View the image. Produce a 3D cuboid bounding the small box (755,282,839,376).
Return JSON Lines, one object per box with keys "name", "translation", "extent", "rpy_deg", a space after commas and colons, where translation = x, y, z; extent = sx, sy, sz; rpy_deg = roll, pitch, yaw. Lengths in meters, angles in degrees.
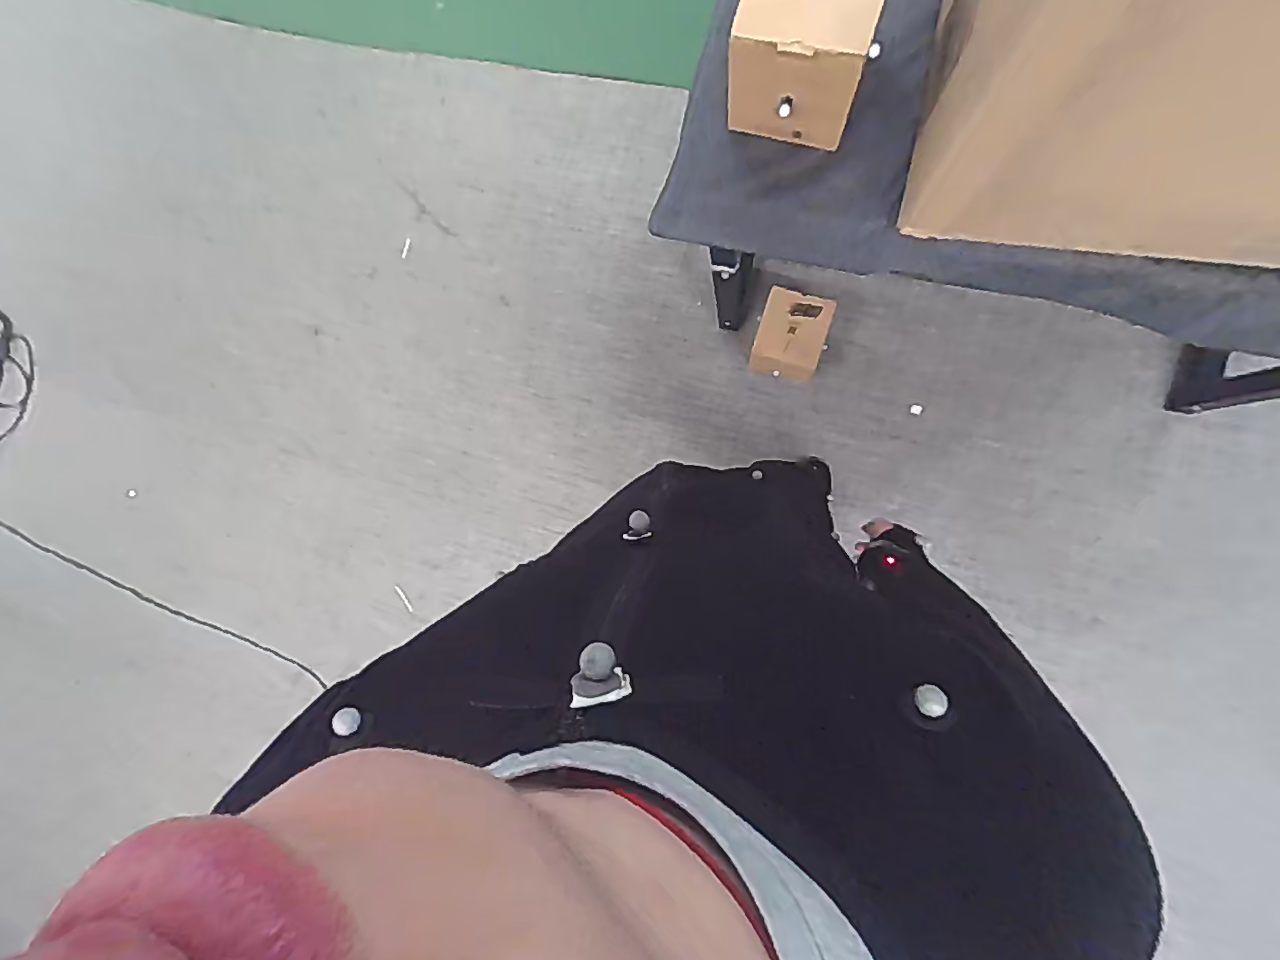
{"name": "small box", "translation": [0.405, -0.392, 1.426], "extent": [0.168, 0.176, 0.179], "rpy_deg": [19, 94, 11]}
